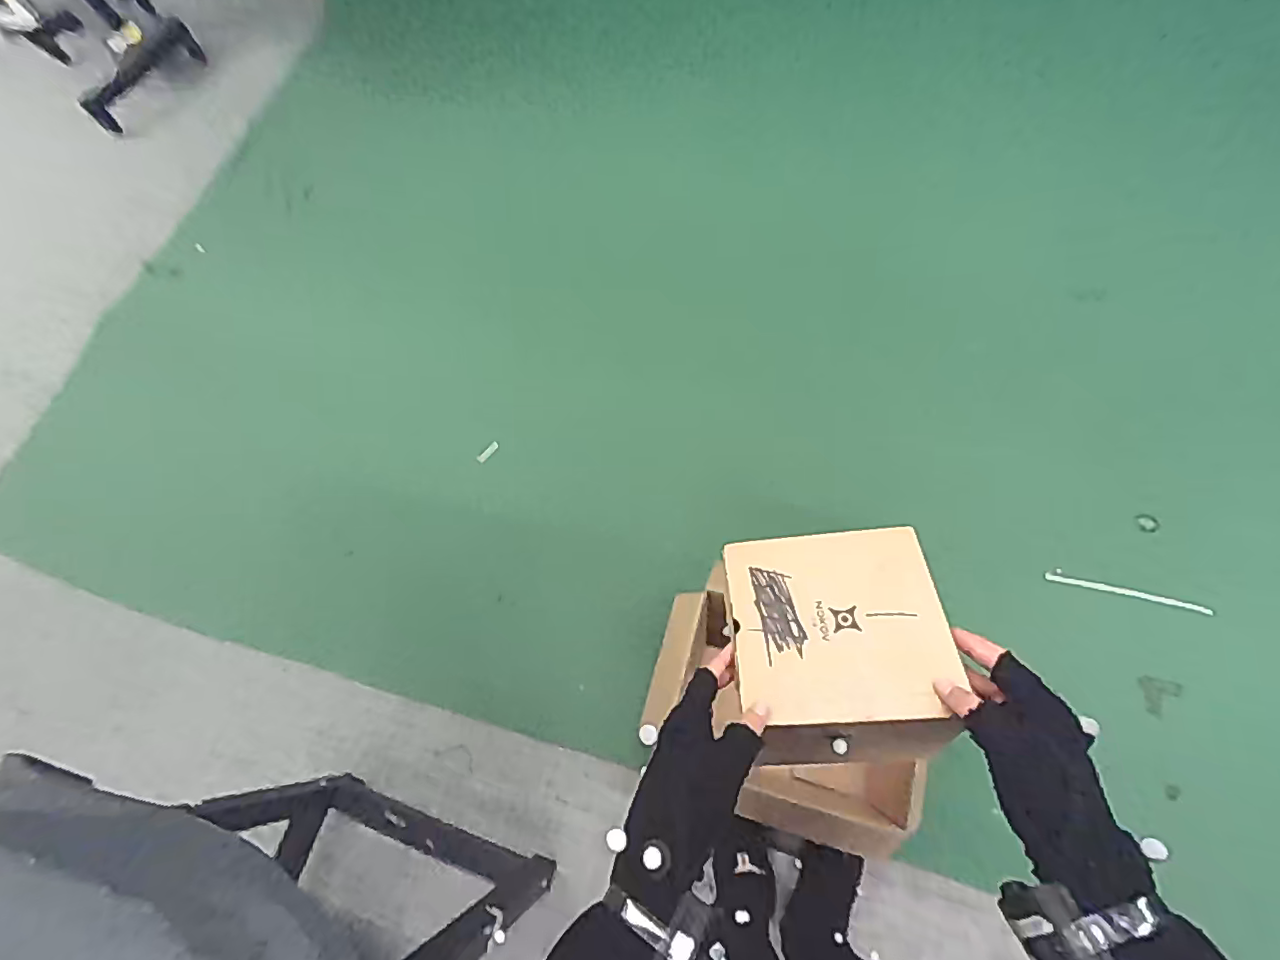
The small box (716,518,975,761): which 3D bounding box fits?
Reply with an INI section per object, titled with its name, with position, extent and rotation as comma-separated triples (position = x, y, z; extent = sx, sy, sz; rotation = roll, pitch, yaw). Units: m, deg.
[small box]
position = 0.175, 0.158, 0.509
extent = 0.179, 0.176, 0.168
rotation = -8, 53, 9
